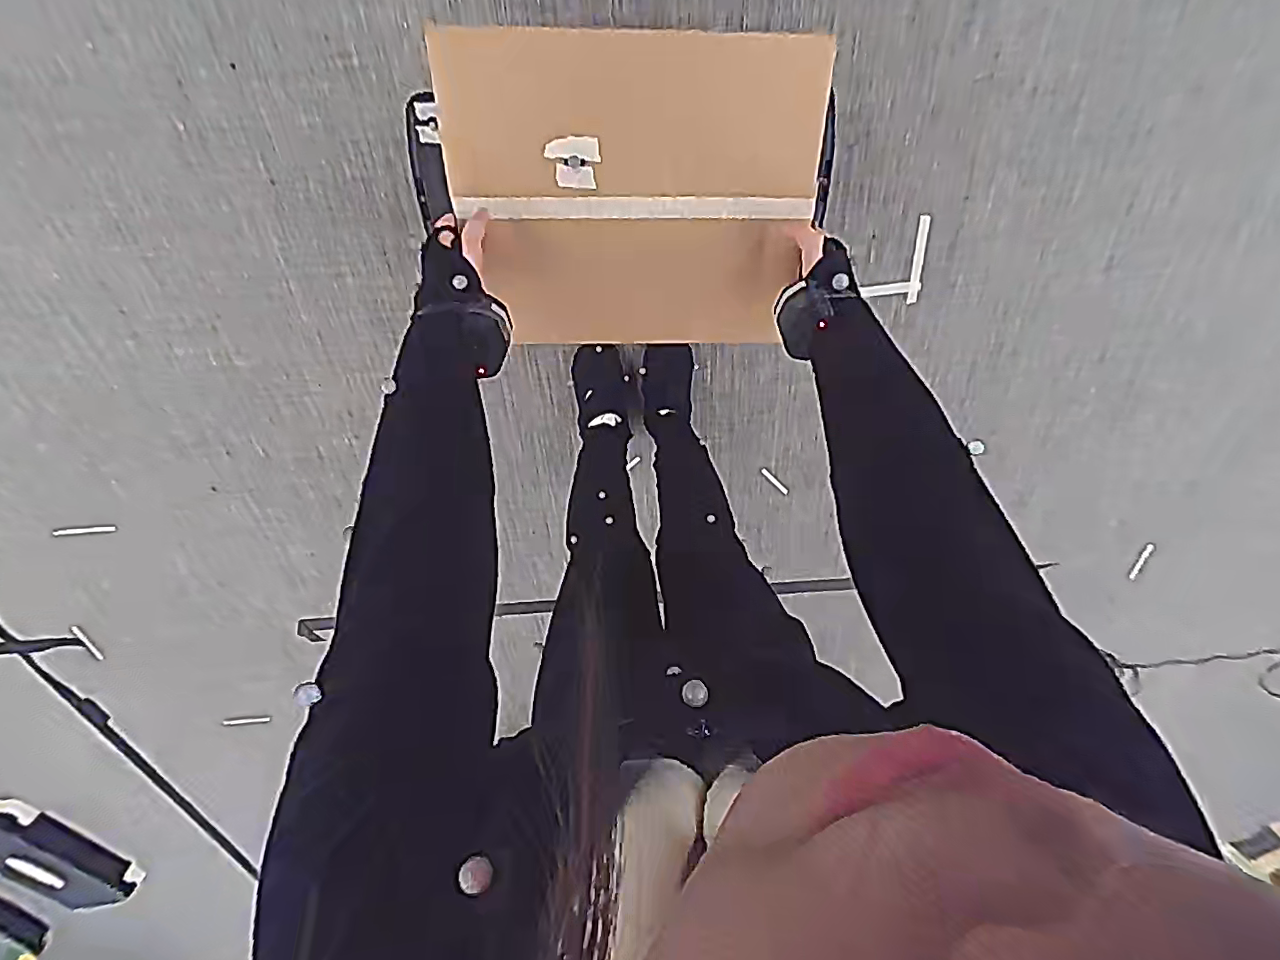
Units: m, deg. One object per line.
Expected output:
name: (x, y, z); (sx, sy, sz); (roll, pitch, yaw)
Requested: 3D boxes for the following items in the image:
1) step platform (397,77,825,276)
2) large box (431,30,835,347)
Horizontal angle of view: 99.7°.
step platform: (-0.043, -0.499, 0.933); (0.684, 0.204, 0.286); (1, 122, -4)
large box: (-0.009, -0.381, 0.727); (0.408, 0.320, 0.320); (-1, 122, -2)
